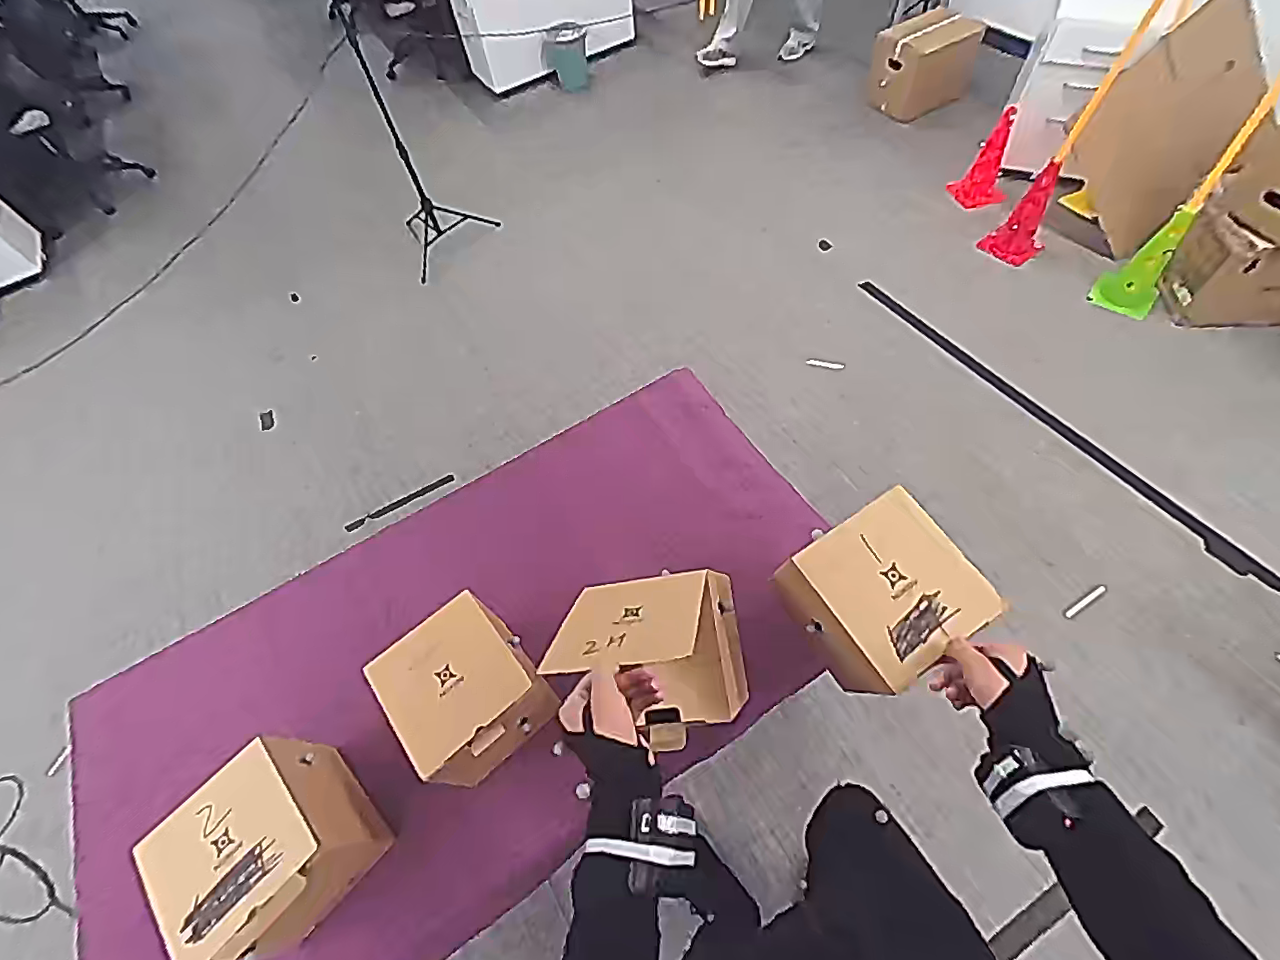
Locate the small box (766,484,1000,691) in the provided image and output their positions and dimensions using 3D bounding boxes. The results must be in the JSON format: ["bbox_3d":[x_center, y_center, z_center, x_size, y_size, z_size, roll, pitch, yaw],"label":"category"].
[{"bbox_3d":[0.283,0.139,0.675,0.168,0.176,0.179,-32,71,-9],"label":"small box"}]

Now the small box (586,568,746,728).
[{"bbox_3d":[0.040,0.223,0.729,0.168,0.176,0.179,-12,73,16],"label":"small box"}]

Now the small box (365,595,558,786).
[{"bbox_3d":[-0.238,0.298,0.761,0.168,0.176,0.179,-38,62,-16],"label":"small box"}]
